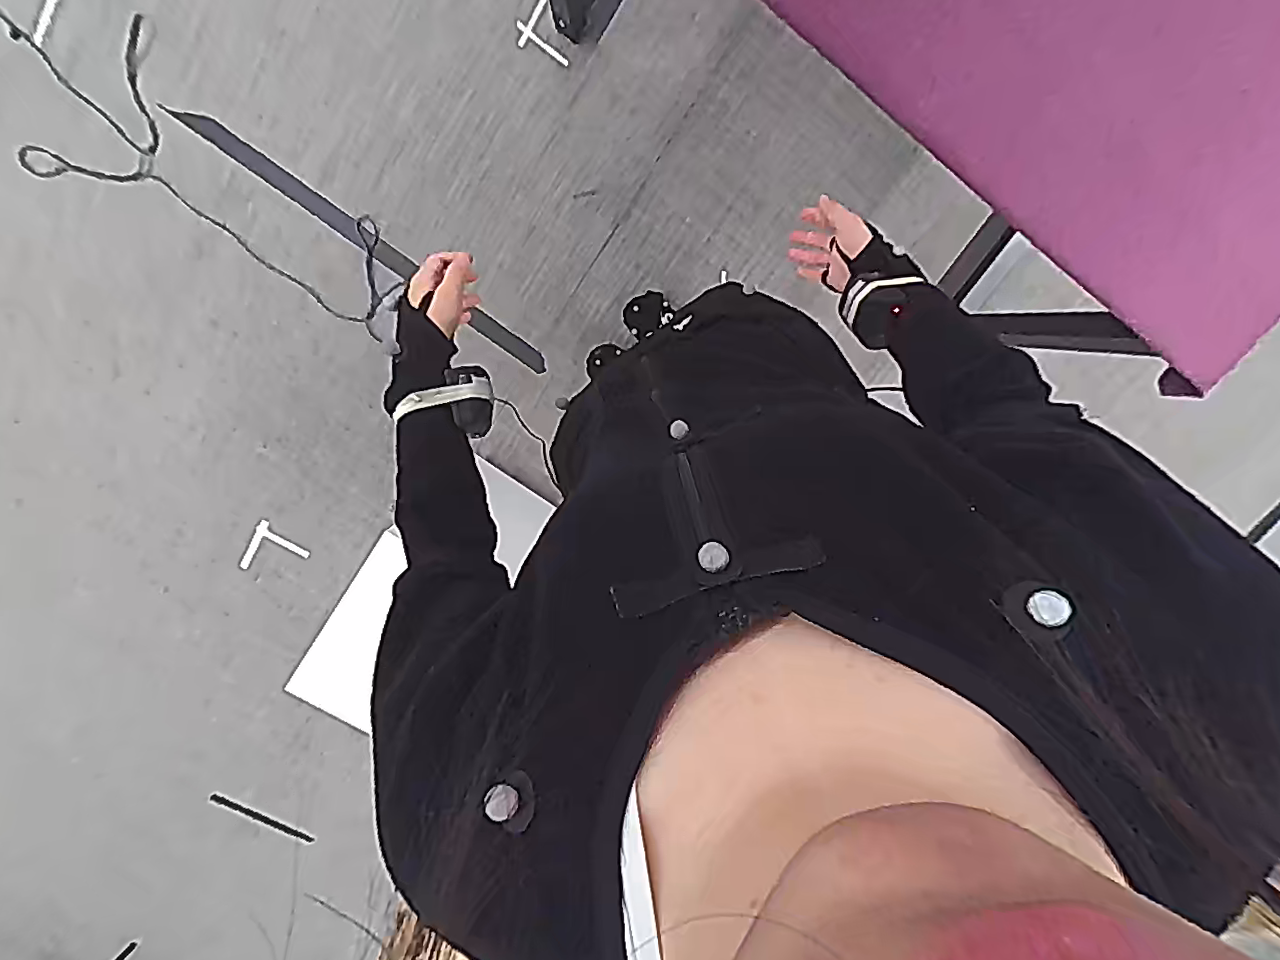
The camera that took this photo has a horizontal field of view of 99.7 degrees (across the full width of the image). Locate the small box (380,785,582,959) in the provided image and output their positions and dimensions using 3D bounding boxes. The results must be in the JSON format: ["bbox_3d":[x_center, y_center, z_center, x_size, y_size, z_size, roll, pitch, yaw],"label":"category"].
[{"bbox_3d":[-0.179,0.508,0.629,0.168,0.176,0.179,33,103,-11],"label":"small box"}]
